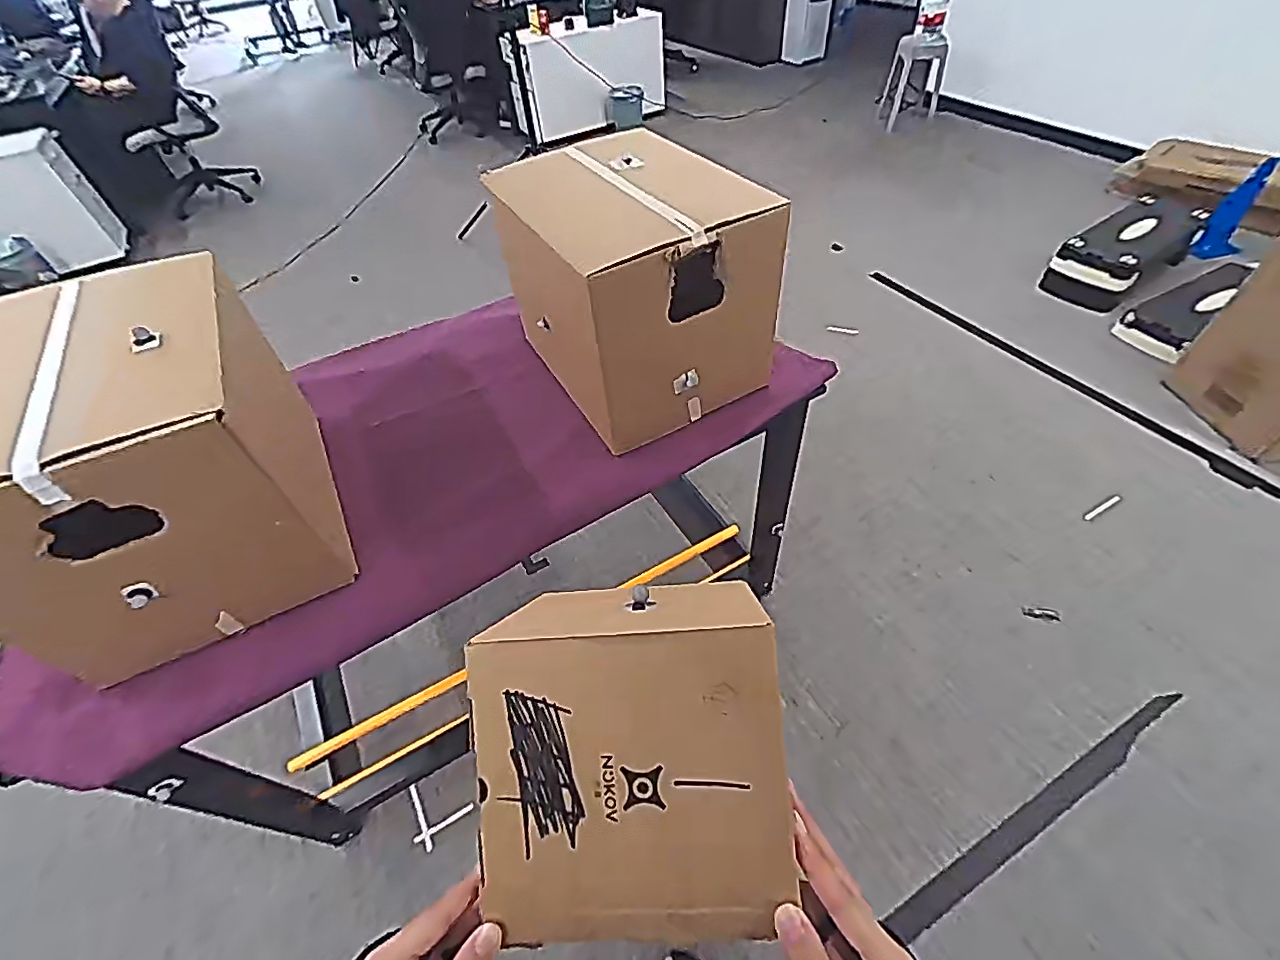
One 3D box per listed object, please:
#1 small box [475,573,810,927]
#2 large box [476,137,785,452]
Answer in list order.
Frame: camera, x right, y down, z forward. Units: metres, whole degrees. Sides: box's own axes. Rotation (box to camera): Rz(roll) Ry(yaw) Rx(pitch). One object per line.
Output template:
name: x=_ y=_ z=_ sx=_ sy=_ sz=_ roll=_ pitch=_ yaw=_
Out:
small box: x=0.005 y=0.160 z=0.373 sx=0.179 sy=0.176 sz=0.168 roll=-5 pitch=87 yaw=4
large box: x=-0.019 y=-0.320 z=0.903 sx=0.320 sy=0.320 sz=0.408 roll=-26 pitch=51 yaw=-17
